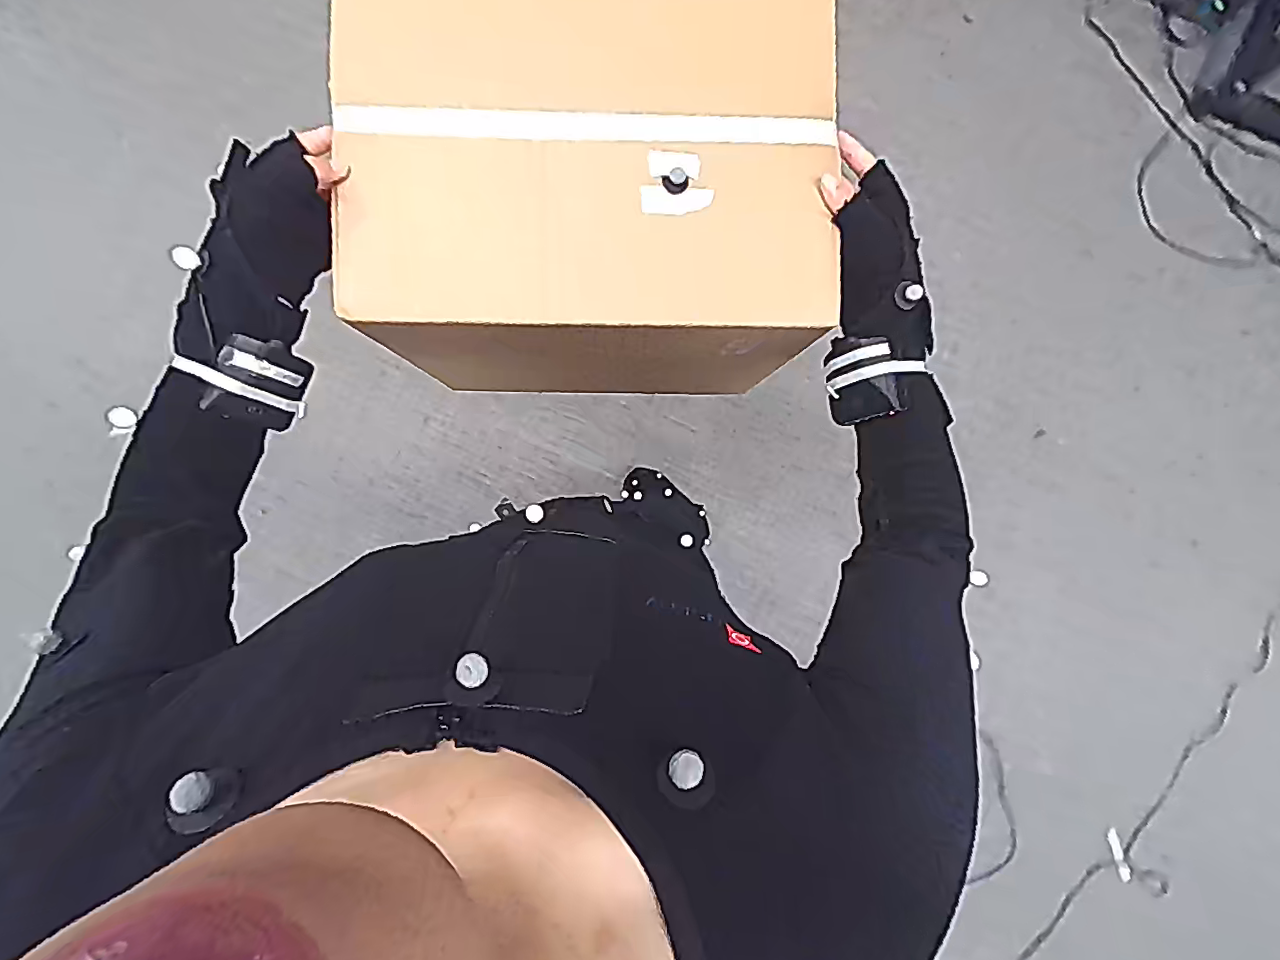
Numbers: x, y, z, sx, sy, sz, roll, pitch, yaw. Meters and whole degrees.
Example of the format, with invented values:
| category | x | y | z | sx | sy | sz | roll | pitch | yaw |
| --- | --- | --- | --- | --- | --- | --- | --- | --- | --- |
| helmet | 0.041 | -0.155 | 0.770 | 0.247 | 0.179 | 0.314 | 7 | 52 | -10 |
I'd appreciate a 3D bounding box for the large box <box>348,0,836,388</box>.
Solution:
| category | x | y | z | sx | sy | sz | roll | pitch | yaw |
| --- | --- | --- | --- | --- | --- | --- | --- | --- | --- |
| large box | -0.047 | -0.288 | 0.597 | 0.408 | 0.320 | 0.320 | -2 | 89 | -4 |
